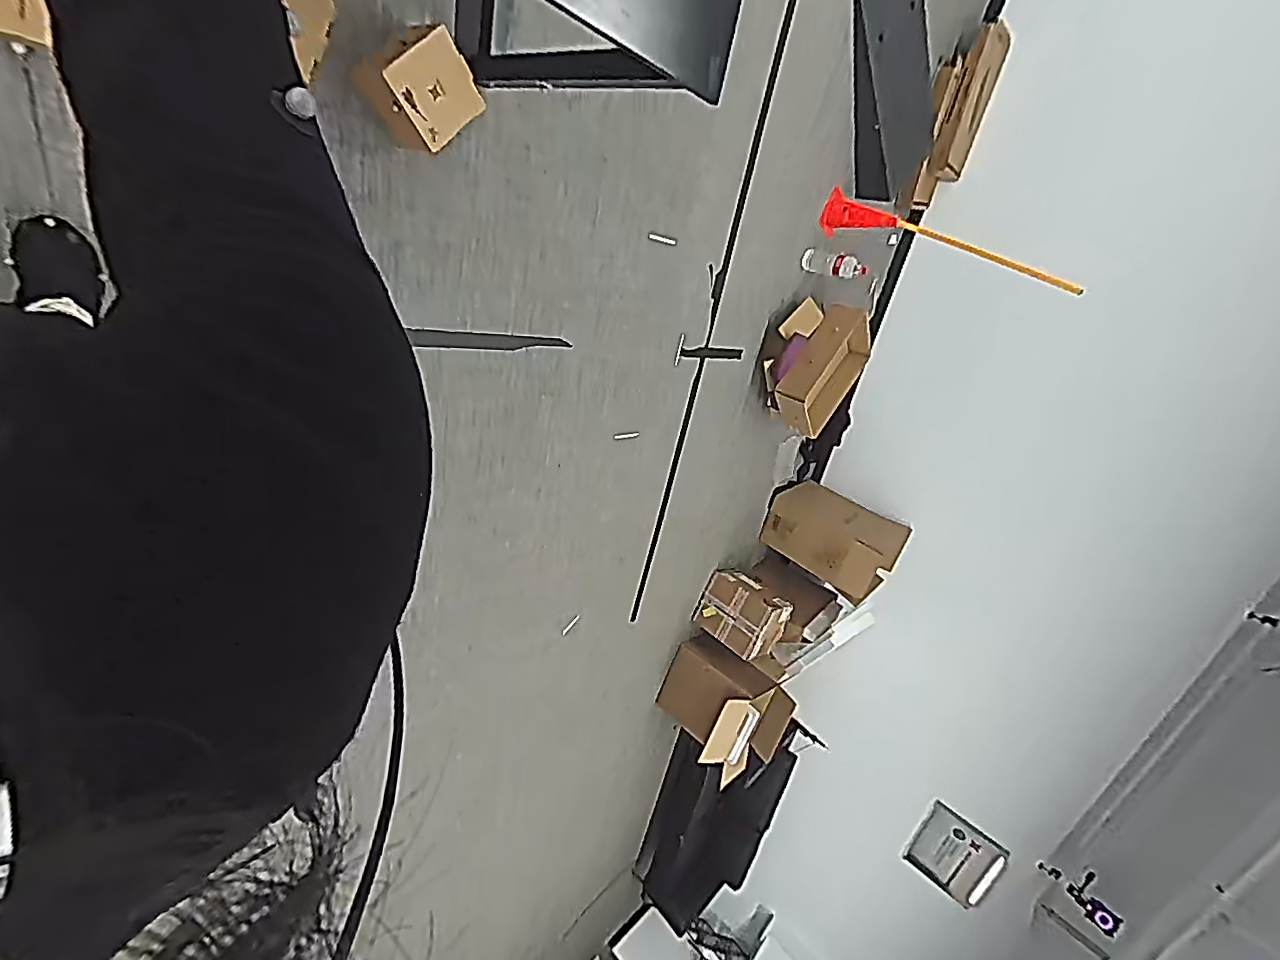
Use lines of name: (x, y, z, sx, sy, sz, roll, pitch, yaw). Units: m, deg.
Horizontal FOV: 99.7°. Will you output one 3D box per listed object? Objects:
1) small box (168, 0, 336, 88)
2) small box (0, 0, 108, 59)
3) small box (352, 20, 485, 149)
small box: (-0.683, -0.836, 0.952, 0.179, 0.176, 0.168, 18, 100, -54)
small box: (-0.891, -0.730, 0.763, 0.168, 0.176, 0.179, -14, 127, -46)
small box: (-0.485, -0.862, 1.180, 0.179, 0.176, 0.168, -51, 145, -12)
